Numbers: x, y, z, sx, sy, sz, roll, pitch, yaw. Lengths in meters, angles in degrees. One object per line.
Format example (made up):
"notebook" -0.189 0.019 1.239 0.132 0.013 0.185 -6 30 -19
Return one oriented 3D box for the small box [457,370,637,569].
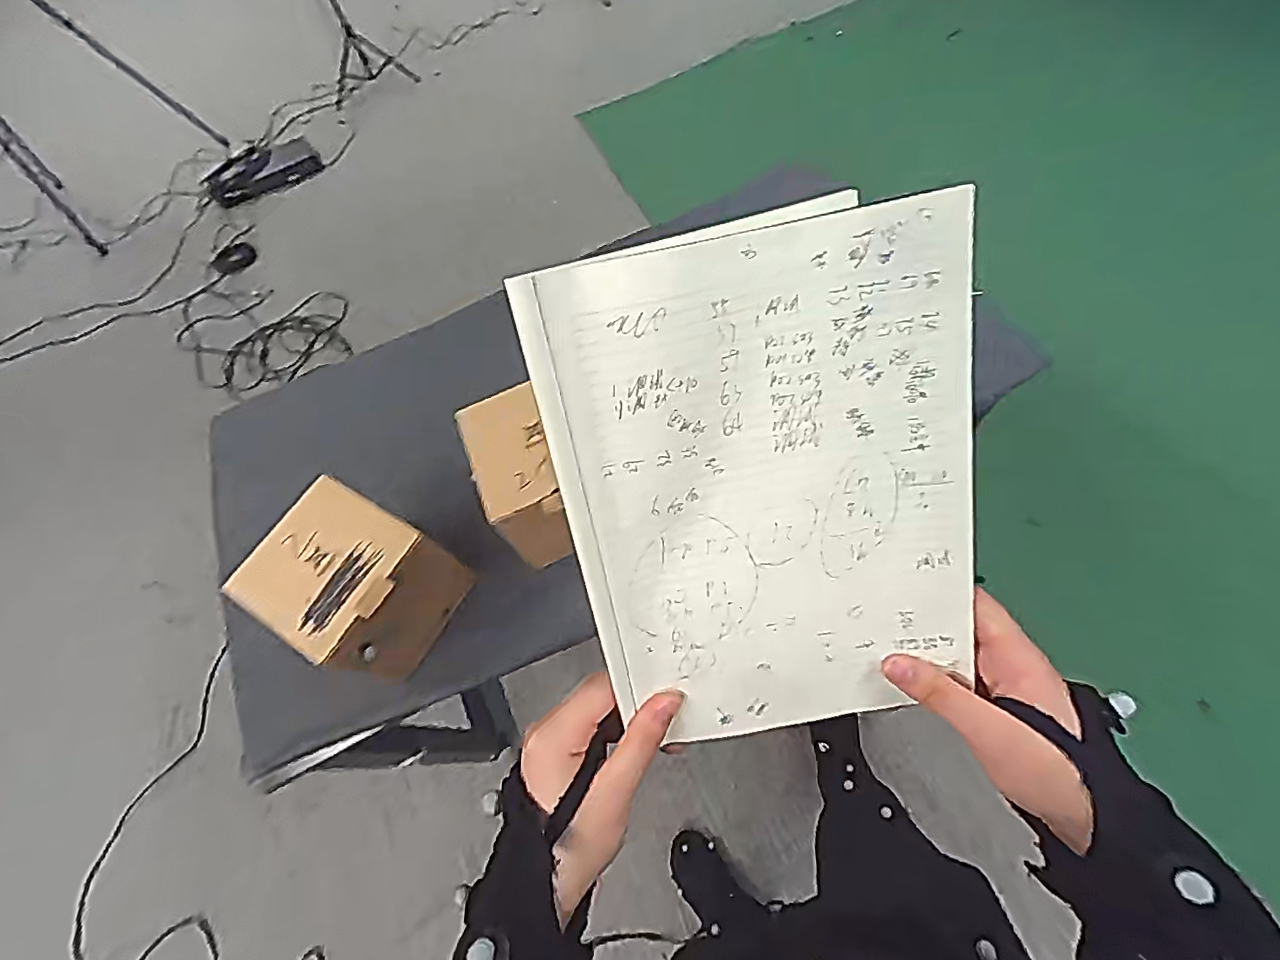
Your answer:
"small box" -0.118 -0.008 0.726 0.168 0.176 0.179 -25 62 -3
